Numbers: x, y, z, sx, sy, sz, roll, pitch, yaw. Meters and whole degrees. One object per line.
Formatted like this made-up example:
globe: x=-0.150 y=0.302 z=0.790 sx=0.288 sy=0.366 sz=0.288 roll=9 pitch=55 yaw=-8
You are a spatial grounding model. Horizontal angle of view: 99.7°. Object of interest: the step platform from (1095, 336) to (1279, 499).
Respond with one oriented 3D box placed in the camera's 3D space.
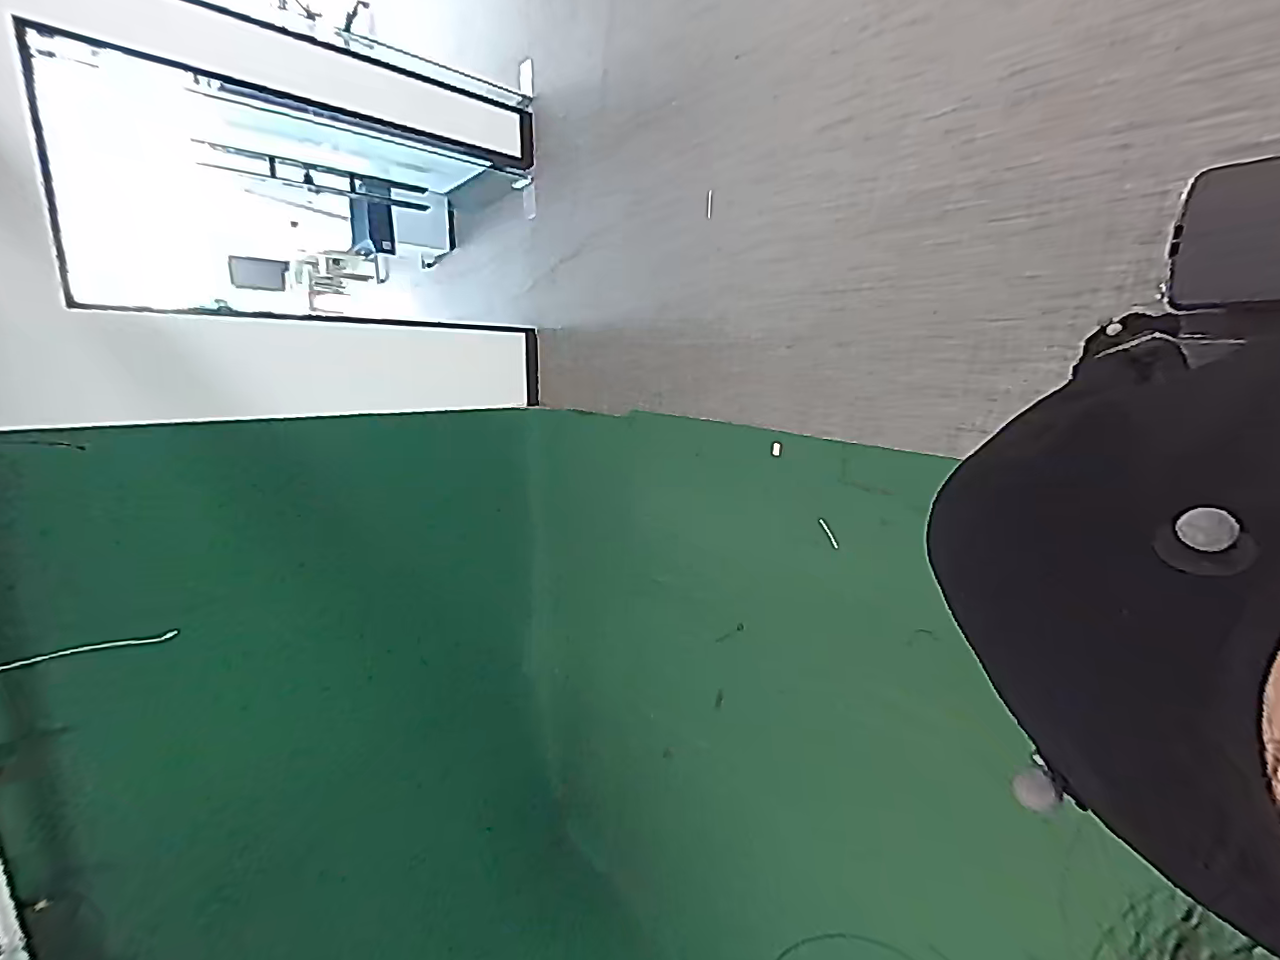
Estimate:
step platform: x=1.169 y=-0.081 z=0.839 sx=0.684 sy=0.204 sz=0.286 roll=14 pitch=108 yaw=47
